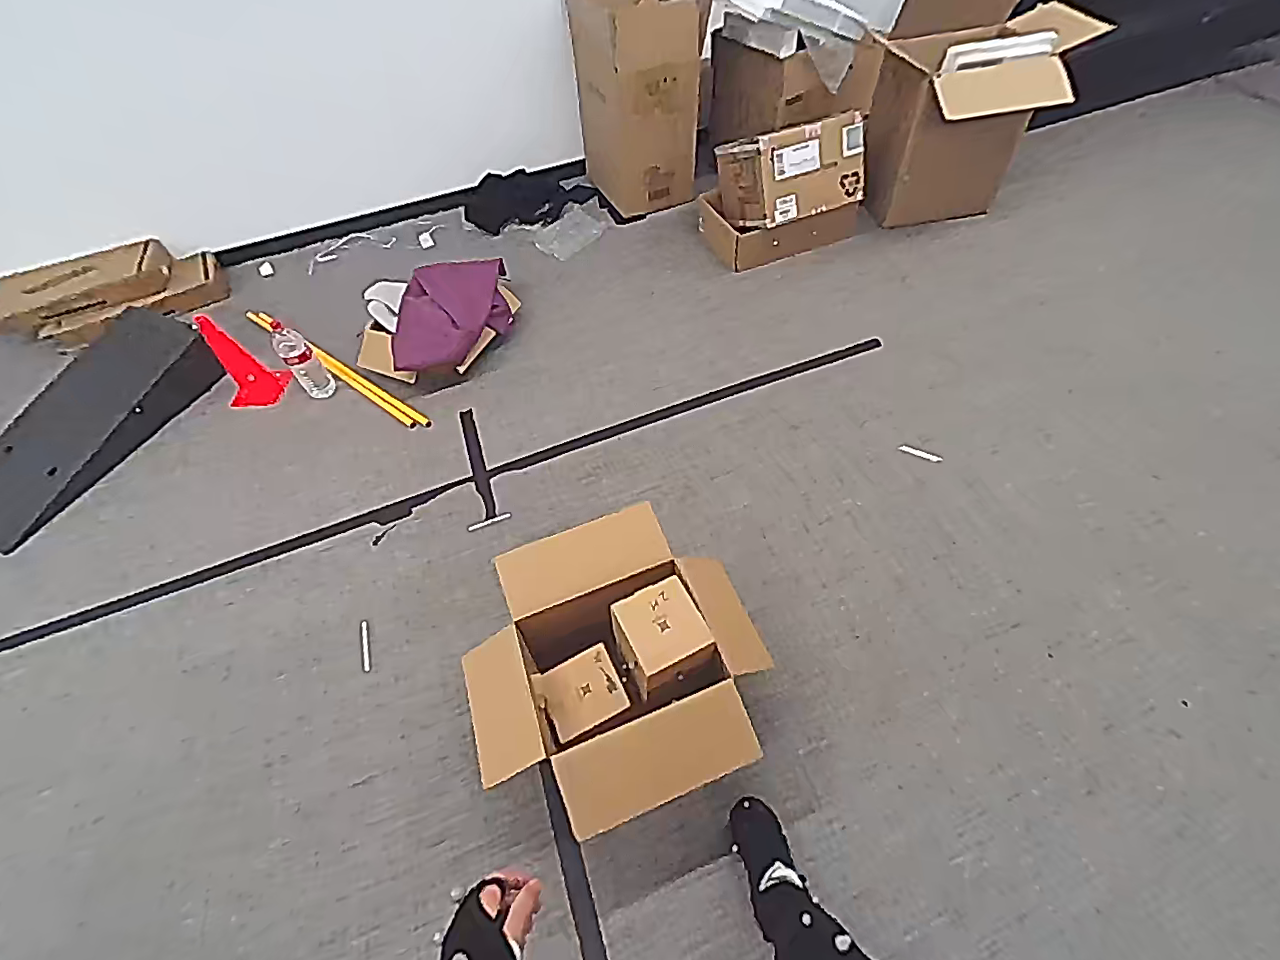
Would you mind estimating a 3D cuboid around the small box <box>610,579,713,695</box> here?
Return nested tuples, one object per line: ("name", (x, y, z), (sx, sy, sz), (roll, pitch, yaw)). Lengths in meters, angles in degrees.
("small box", (0.046, 0.359, 1.210), (0.168, 0.176, 0.179), (-22, 56, -16))
